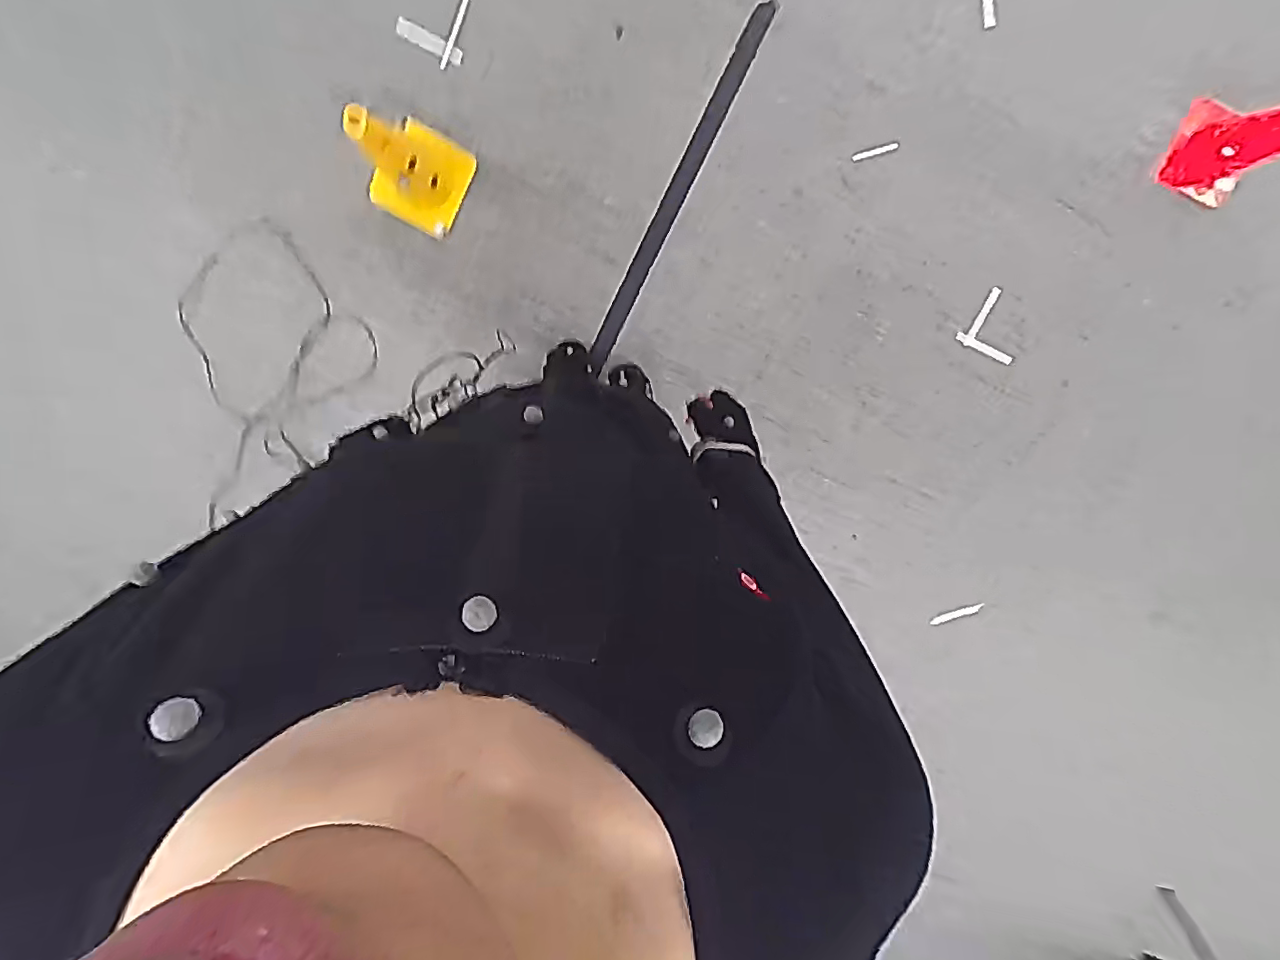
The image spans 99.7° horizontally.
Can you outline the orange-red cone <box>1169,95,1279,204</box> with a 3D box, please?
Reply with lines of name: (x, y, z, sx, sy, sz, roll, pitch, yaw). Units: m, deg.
orange-red cone: (1.438, -0.774, 1.169, 0.198, 0.360, 0.199, 21, 101, -9)
